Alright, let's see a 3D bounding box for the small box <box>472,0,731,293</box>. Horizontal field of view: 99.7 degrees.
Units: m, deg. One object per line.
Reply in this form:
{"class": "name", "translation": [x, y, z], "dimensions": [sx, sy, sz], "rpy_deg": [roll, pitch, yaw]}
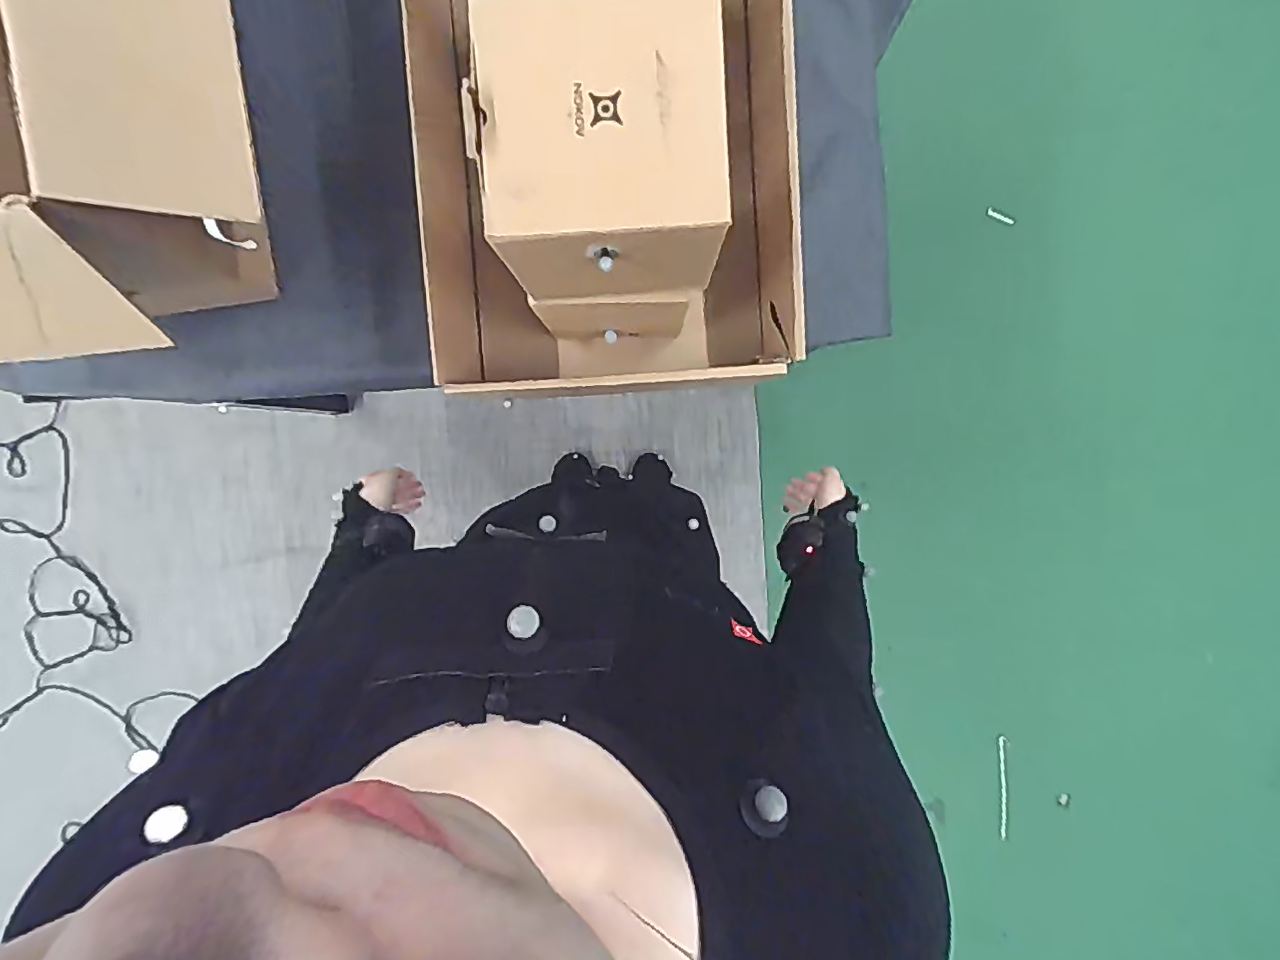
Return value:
{"class": "small box", "translation": [-0.025, -0.264, 0.456], "dimensions": [0.179, 0.176, 0.168], "rpy_deg": [-4, 95, 0]}
